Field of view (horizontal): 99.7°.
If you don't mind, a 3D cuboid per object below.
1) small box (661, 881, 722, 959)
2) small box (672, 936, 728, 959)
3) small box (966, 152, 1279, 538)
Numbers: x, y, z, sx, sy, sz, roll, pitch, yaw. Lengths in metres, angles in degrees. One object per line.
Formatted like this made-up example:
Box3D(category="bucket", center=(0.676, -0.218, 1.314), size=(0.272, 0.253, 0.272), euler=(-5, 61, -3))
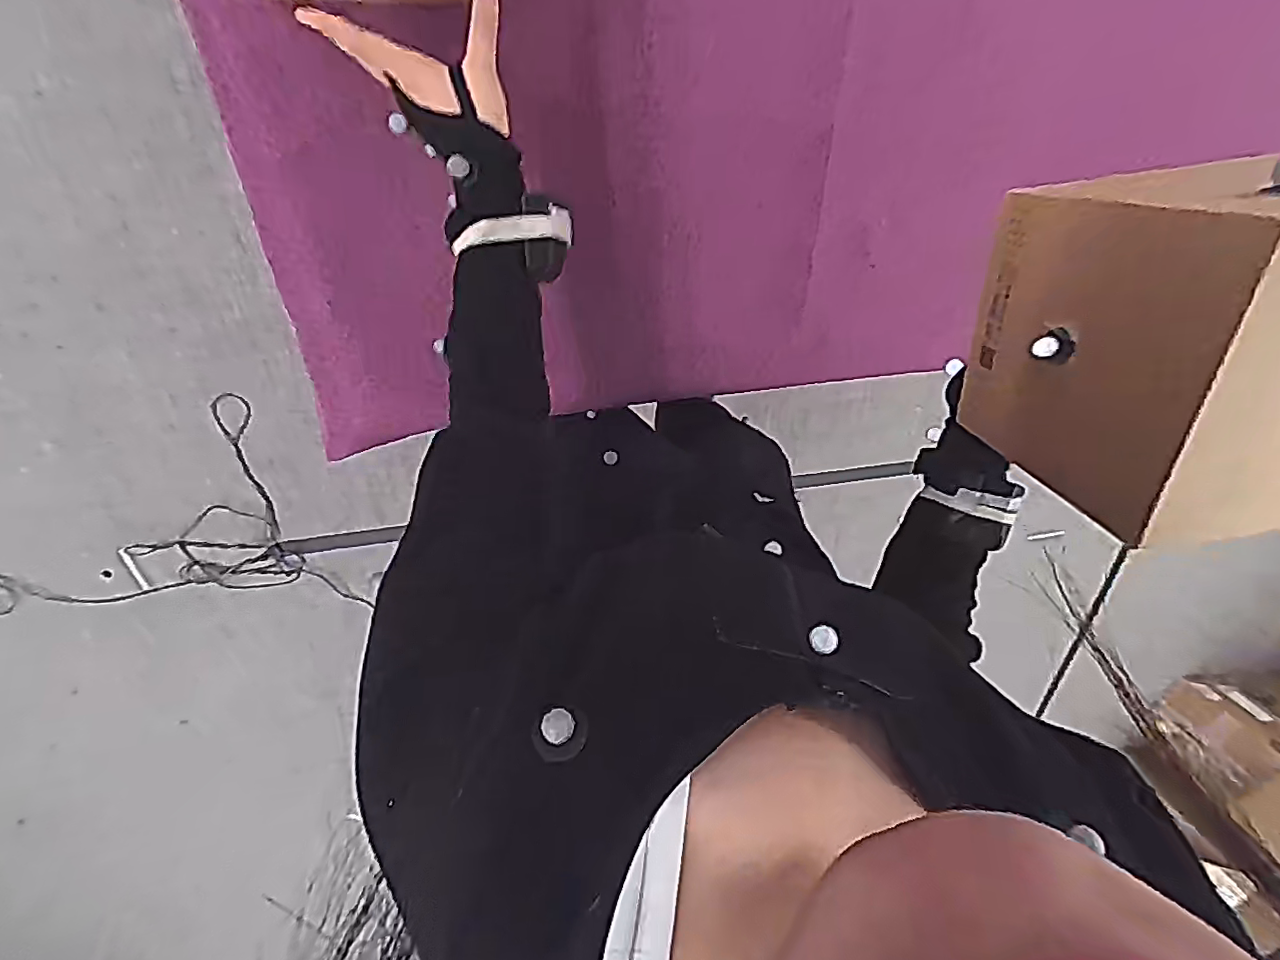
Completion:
Box3D(category="small box", center=(0.173, 1.527, 1.877), size=(0.168, 0.176, 0.179), euler=(-3, 120, -11))
Box3D(category="small box", center=(0.202, 1.606, 1.738), size=(0.168, 0.176, 0.179), euler=(-6, 122, -10))
Box3D(category="small box", center=(0.334, -0.090, 0.320), size=(0.179, 0.176, 0.168), euler=(-9, 122, -2))
